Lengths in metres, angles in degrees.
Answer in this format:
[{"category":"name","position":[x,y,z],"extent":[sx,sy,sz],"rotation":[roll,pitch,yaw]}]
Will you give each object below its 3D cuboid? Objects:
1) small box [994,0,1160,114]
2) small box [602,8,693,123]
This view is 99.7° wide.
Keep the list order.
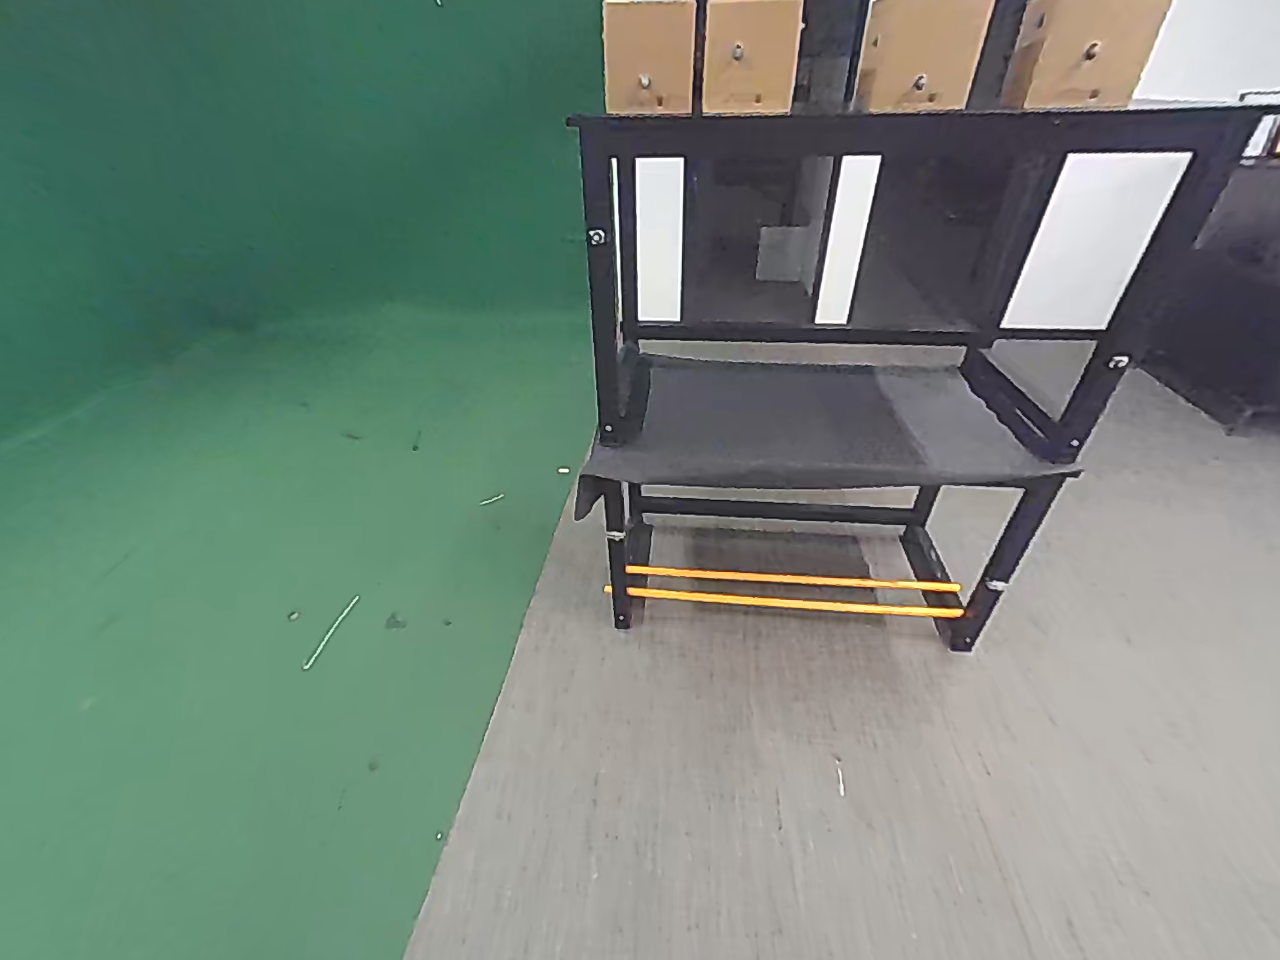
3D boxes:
[{"category":"small box","position":[0.775,-0.766,0.974],"extent":[0.168,0.176,0.179],"rotation":[8,36,12]},{"category":"small box","position":[0.019,-0.814,1.070],"extent":[0.168,0.176,0.179],"rotation":[2,37,4]}]
